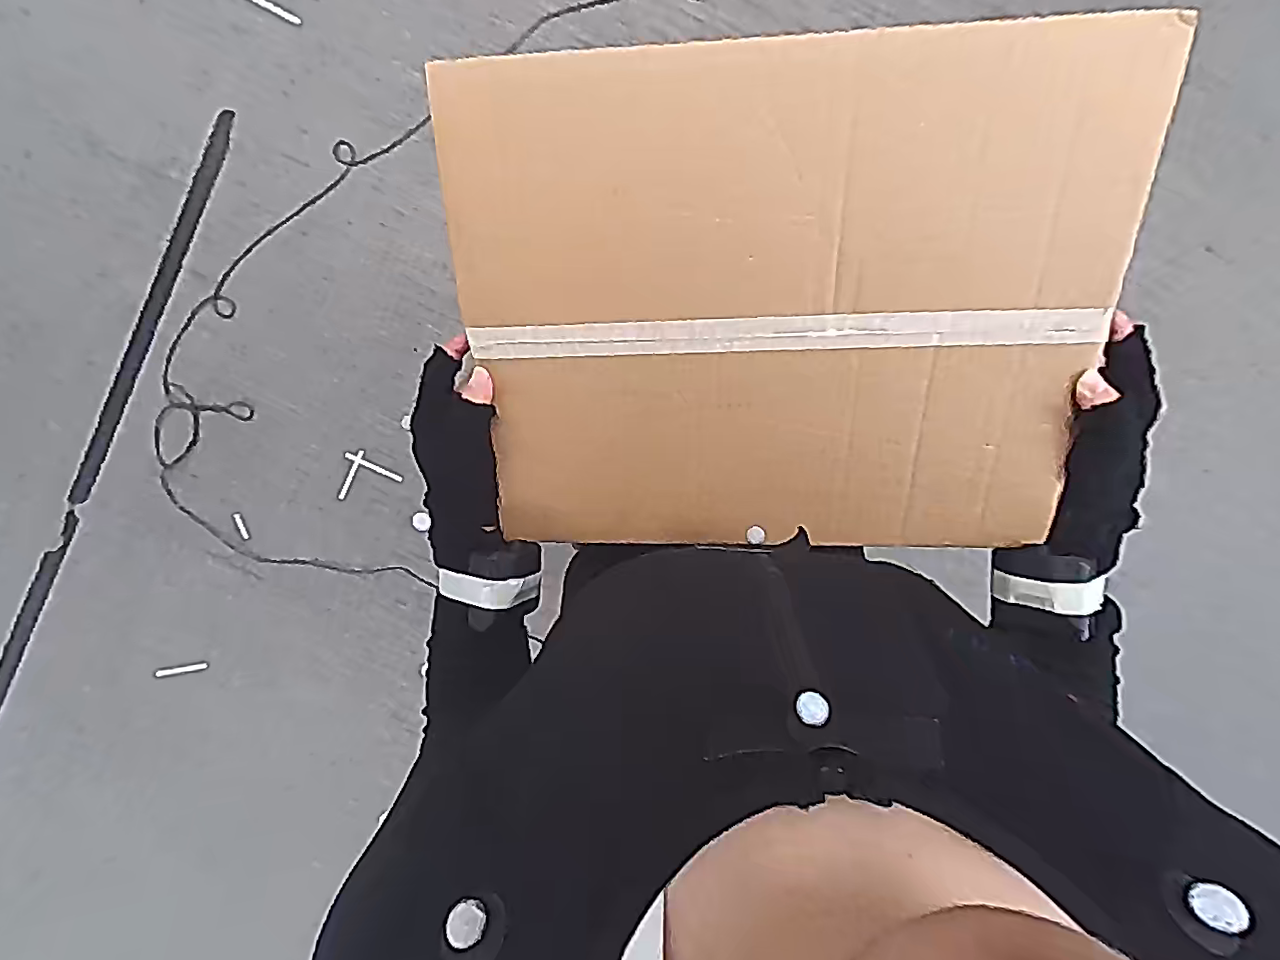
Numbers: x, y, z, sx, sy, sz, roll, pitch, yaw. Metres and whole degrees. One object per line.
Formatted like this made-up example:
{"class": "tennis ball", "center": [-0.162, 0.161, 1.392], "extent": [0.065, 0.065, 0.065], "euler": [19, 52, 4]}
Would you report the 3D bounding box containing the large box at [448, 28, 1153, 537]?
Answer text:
{"class": "large box", "center": [0.097, -0.157, 0.502], "extent": [0.408, 0.320, 0.320], "euler": [-1, 115, 5]}
